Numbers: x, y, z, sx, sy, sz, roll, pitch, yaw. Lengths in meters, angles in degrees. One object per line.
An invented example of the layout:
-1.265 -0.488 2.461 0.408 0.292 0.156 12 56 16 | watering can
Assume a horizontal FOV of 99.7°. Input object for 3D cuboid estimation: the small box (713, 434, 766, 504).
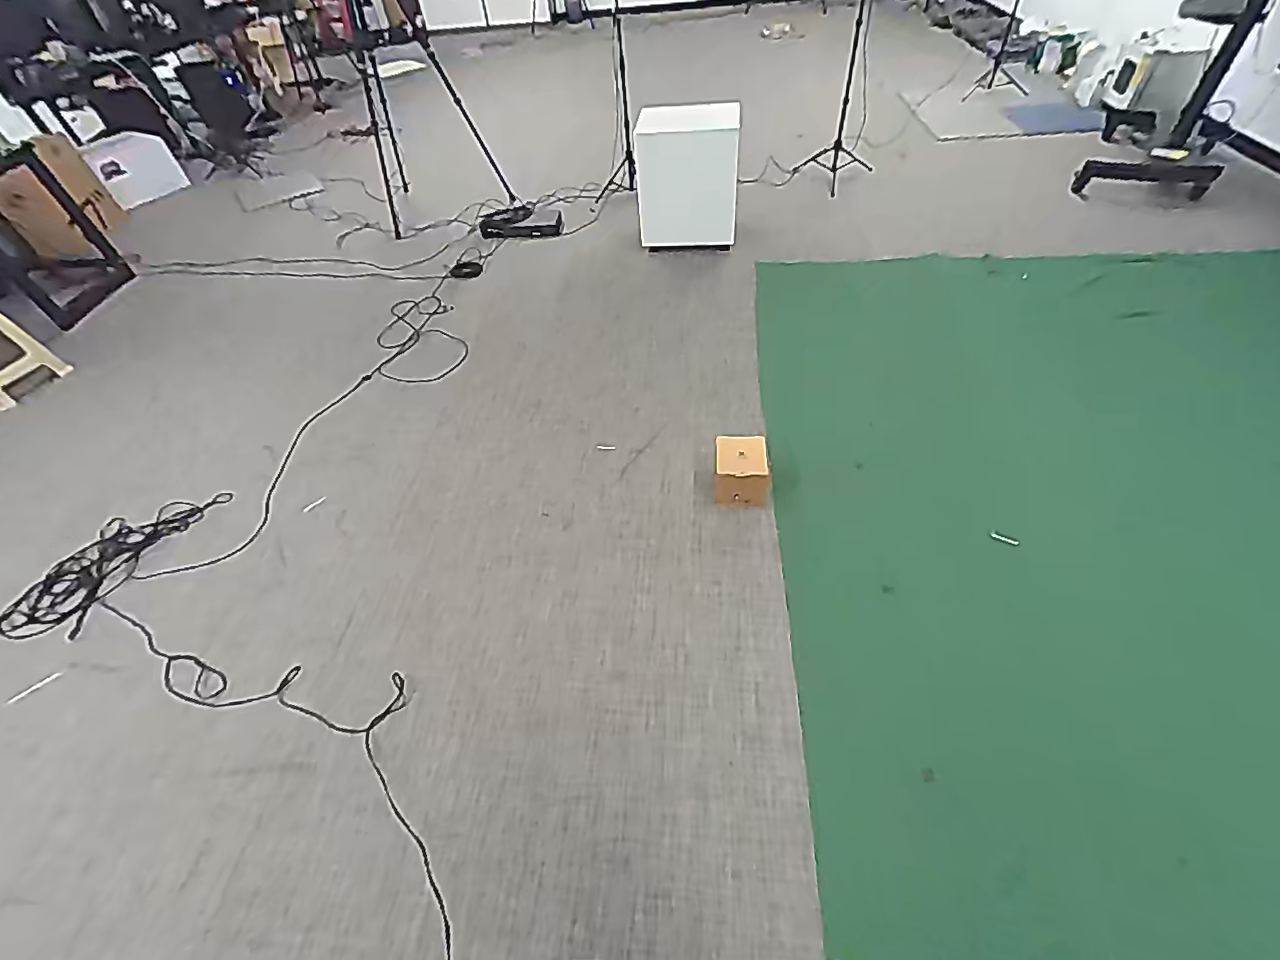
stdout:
0.336 -0.038 1.852 0.168 0.176 0.179 0 50 6 | small box
